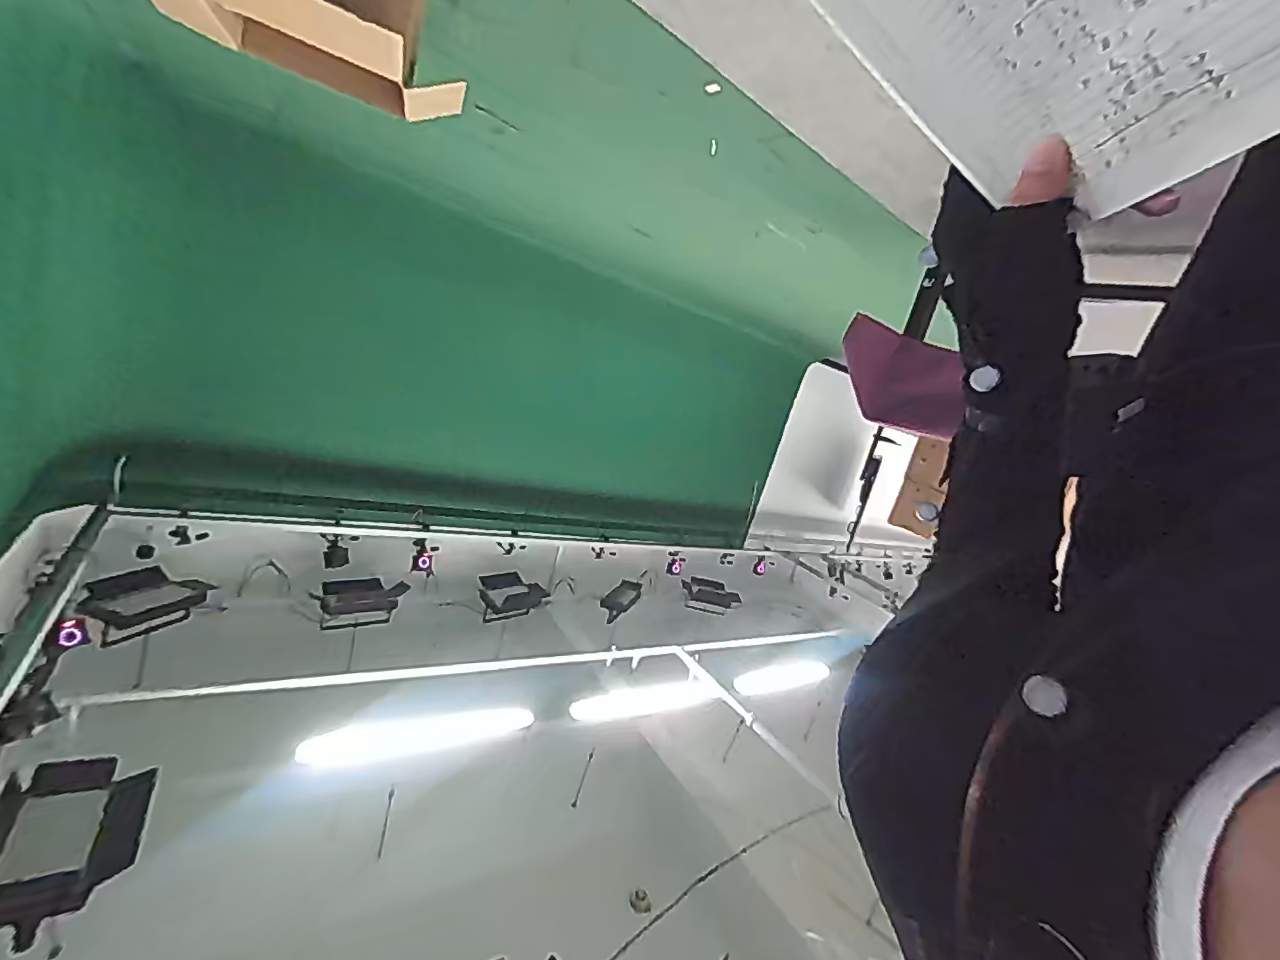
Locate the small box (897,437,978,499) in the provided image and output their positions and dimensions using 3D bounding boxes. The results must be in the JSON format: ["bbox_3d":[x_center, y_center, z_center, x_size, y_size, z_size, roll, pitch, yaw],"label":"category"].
[{"bbox_3d":[1.047,-0.045,1.900,0.179,0.176,0.168,8,-166,-39],"label":"small box"}]

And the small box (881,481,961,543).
[{"bbox_3d":[1.002,0.111,1.925,0.179,0.176,0.168,10,-166,-39],"label":"small box"}]

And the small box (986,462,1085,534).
[{"bbox_3d":[1.193,0.051,1.631,0.179,0.176,0.168,9,-167,-36],"label":"small box"}]
